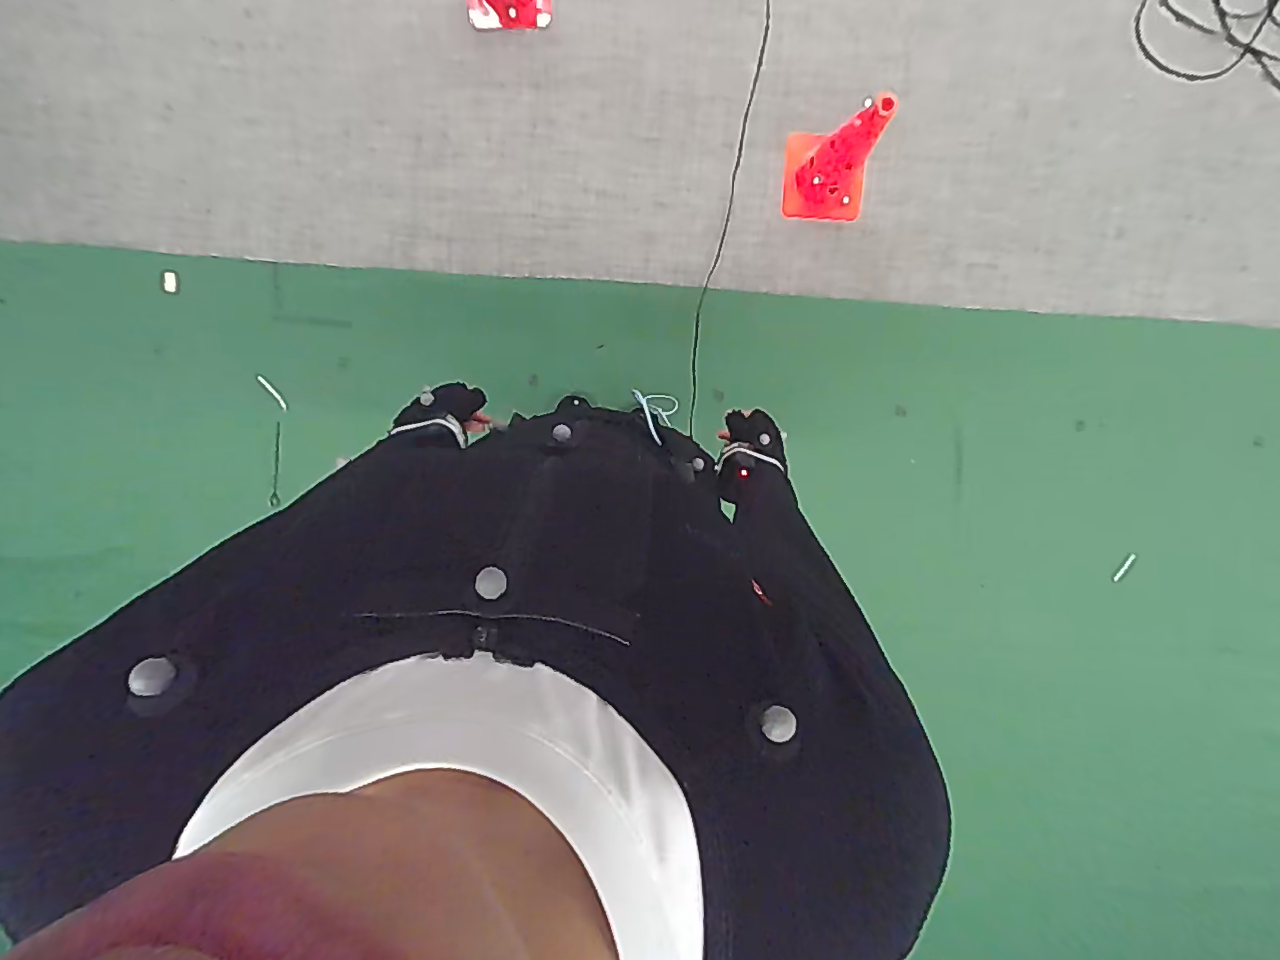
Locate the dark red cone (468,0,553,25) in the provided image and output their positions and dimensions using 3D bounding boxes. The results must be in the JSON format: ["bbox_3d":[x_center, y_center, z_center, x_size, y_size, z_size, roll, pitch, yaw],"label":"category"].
[{"bbox_3d":[-0.308,-1.160,1.114,0.202,0.394,0.201,-2,100,0],"label":"dark red cone"}]

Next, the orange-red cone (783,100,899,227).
[{"bbox_3d":[0.471,-0.730,1.200,0.198,0.360,0.199,4,97,-2],"label":"orange-red cone"}]
